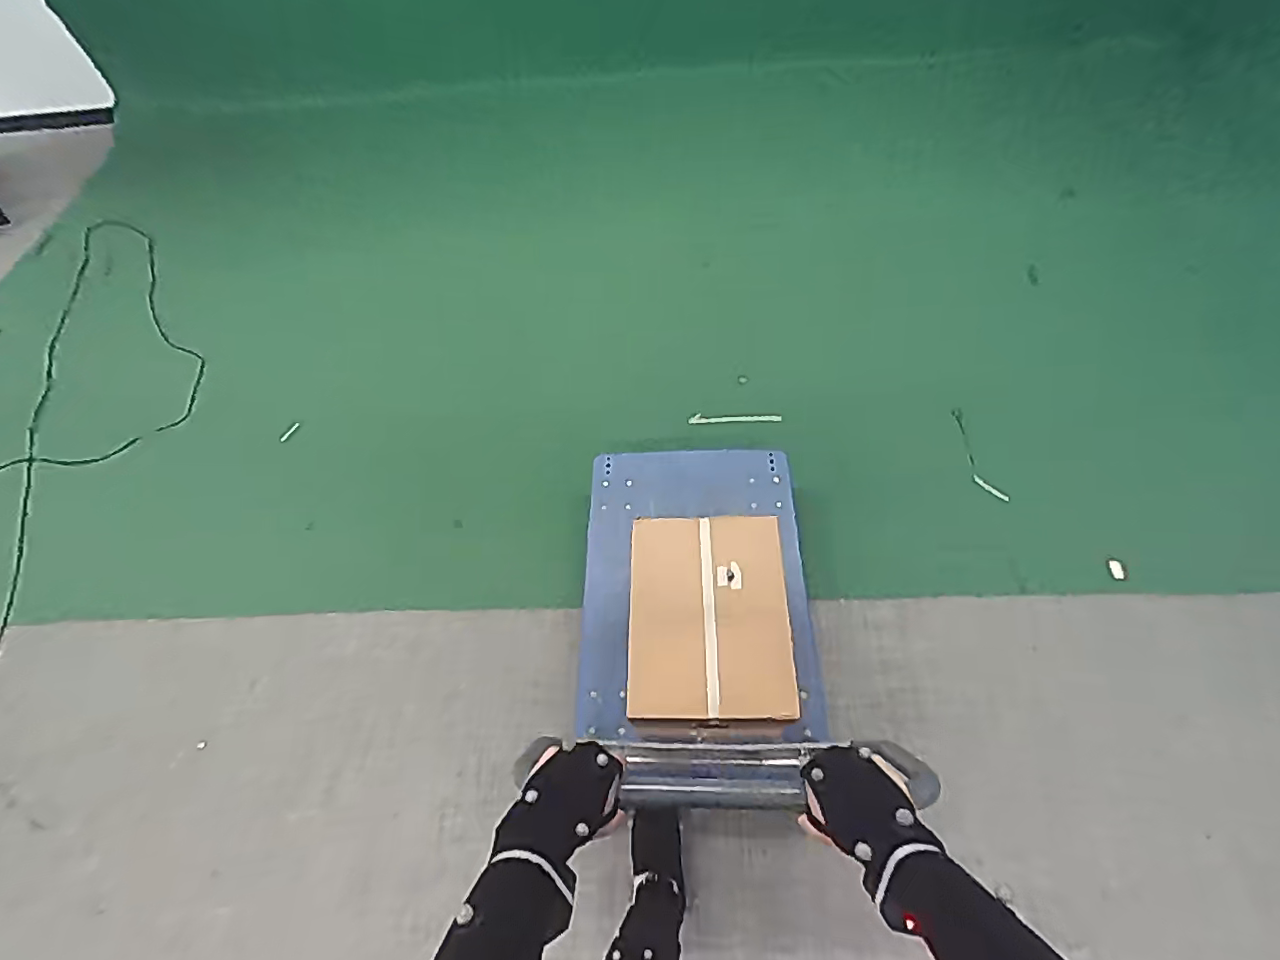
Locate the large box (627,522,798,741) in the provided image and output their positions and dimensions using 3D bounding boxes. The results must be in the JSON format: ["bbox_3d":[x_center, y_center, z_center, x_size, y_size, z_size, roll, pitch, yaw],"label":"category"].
[{"bbox_3d":[0.143,0.345,1.204,0.320,0.320,0.408,-1,58,3],"label":"large box"}]
